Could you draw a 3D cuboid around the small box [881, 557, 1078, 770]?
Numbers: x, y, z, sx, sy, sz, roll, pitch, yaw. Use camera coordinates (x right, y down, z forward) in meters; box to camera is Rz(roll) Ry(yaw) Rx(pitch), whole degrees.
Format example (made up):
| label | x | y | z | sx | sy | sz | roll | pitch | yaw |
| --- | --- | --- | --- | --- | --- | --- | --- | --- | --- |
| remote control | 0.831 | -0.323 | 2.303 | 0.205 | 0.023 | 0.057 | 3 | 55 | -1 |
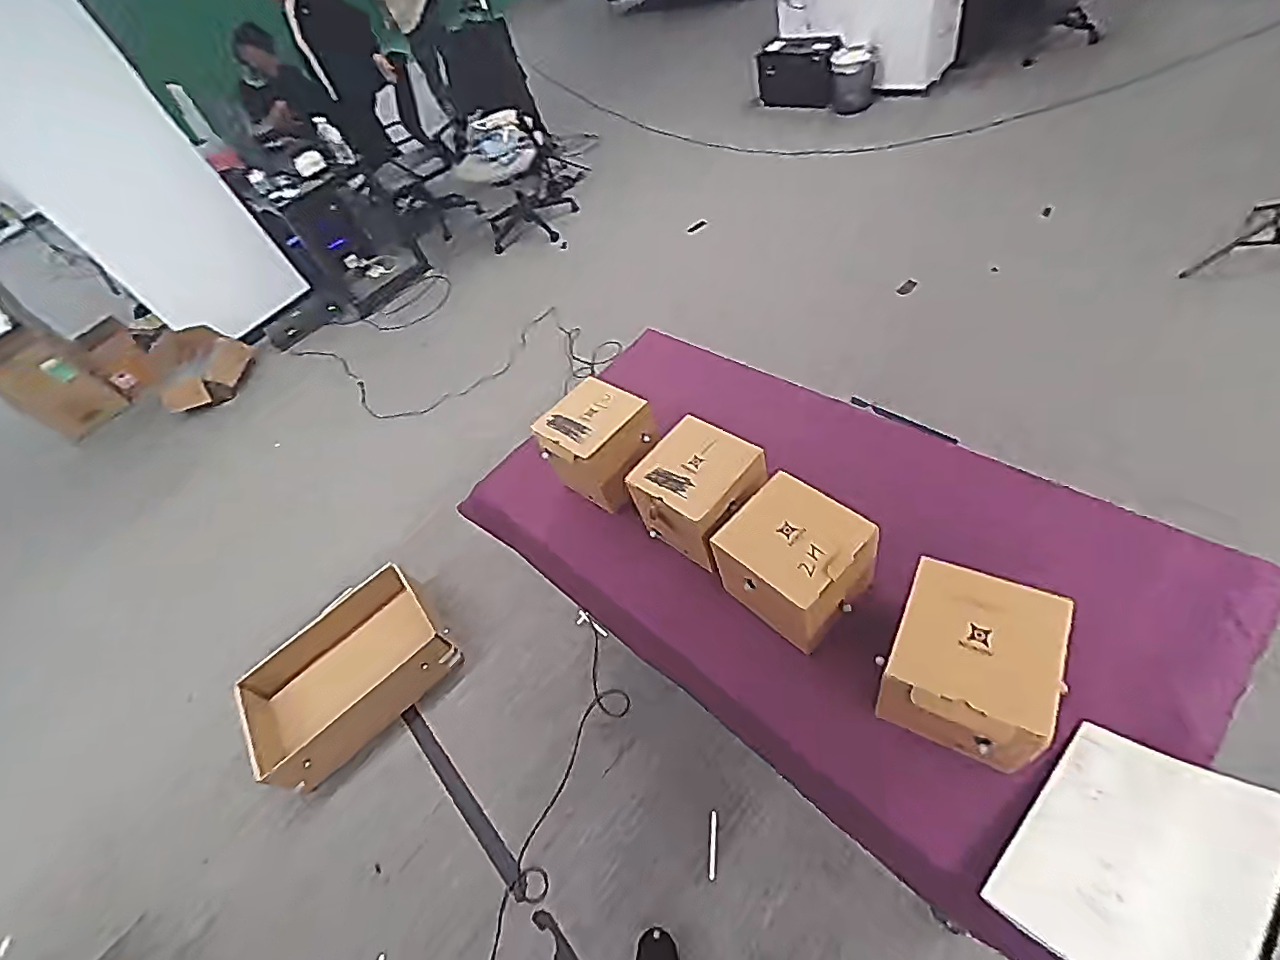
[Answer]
| label | x | y | z | sx | sy | sz | roll | pitch | yaw |
| --- | --- | --- | --- | --- | --- | --- | --- | --- | --- |
| small box | 0.416 | 0.234 | 0.685 | 0.168 | 0.176 | 0.179 | 18 | 60 | 29 |
